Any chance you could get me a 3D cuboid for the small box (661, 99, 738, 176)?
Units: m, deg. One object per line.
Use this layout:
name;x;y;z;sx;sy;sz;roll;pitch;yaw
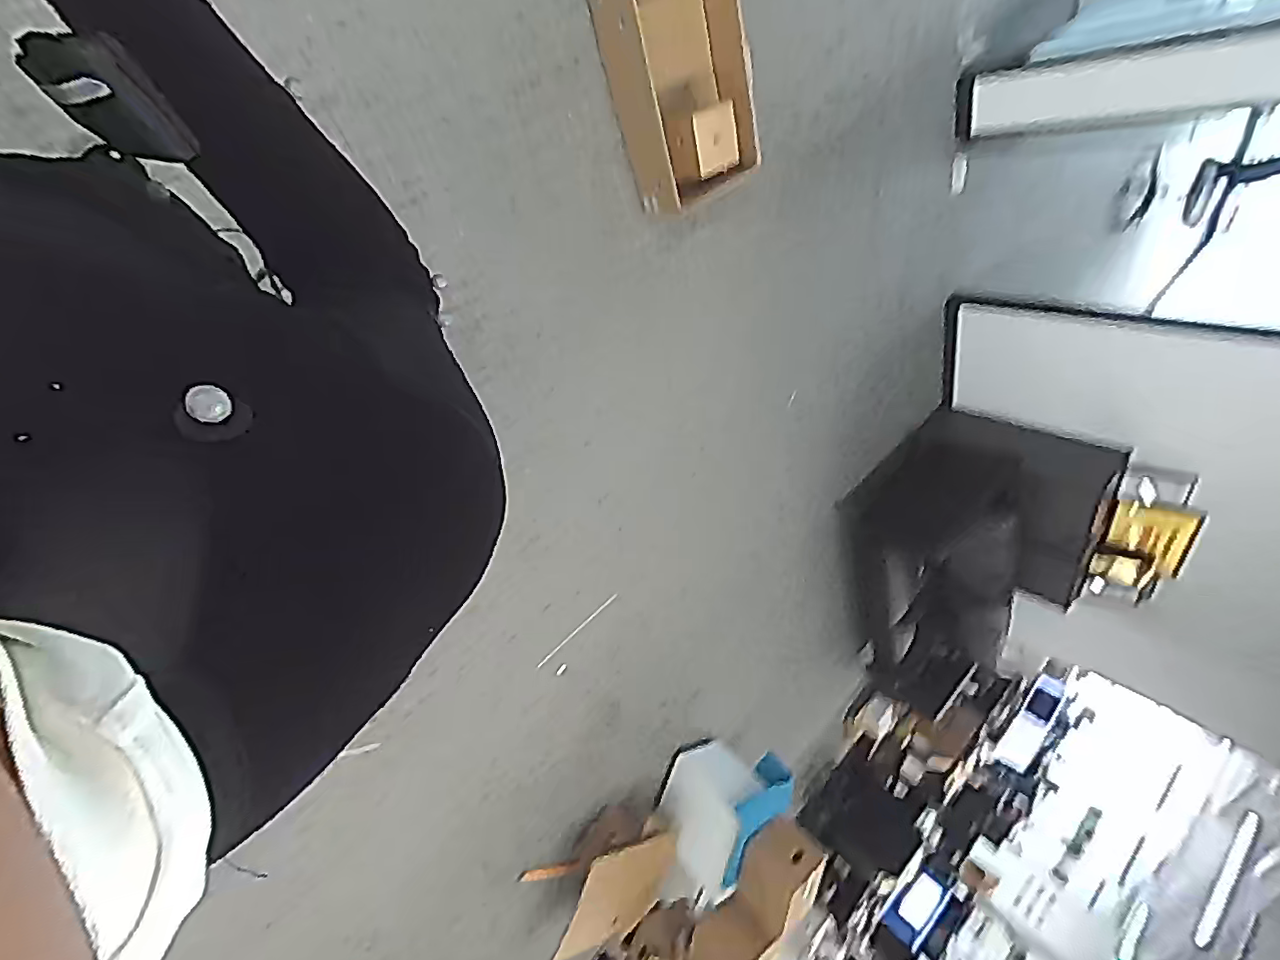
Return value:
small box;0.184;-1.089;1.730;0.179;0.176;0.168;-36;130;-23
